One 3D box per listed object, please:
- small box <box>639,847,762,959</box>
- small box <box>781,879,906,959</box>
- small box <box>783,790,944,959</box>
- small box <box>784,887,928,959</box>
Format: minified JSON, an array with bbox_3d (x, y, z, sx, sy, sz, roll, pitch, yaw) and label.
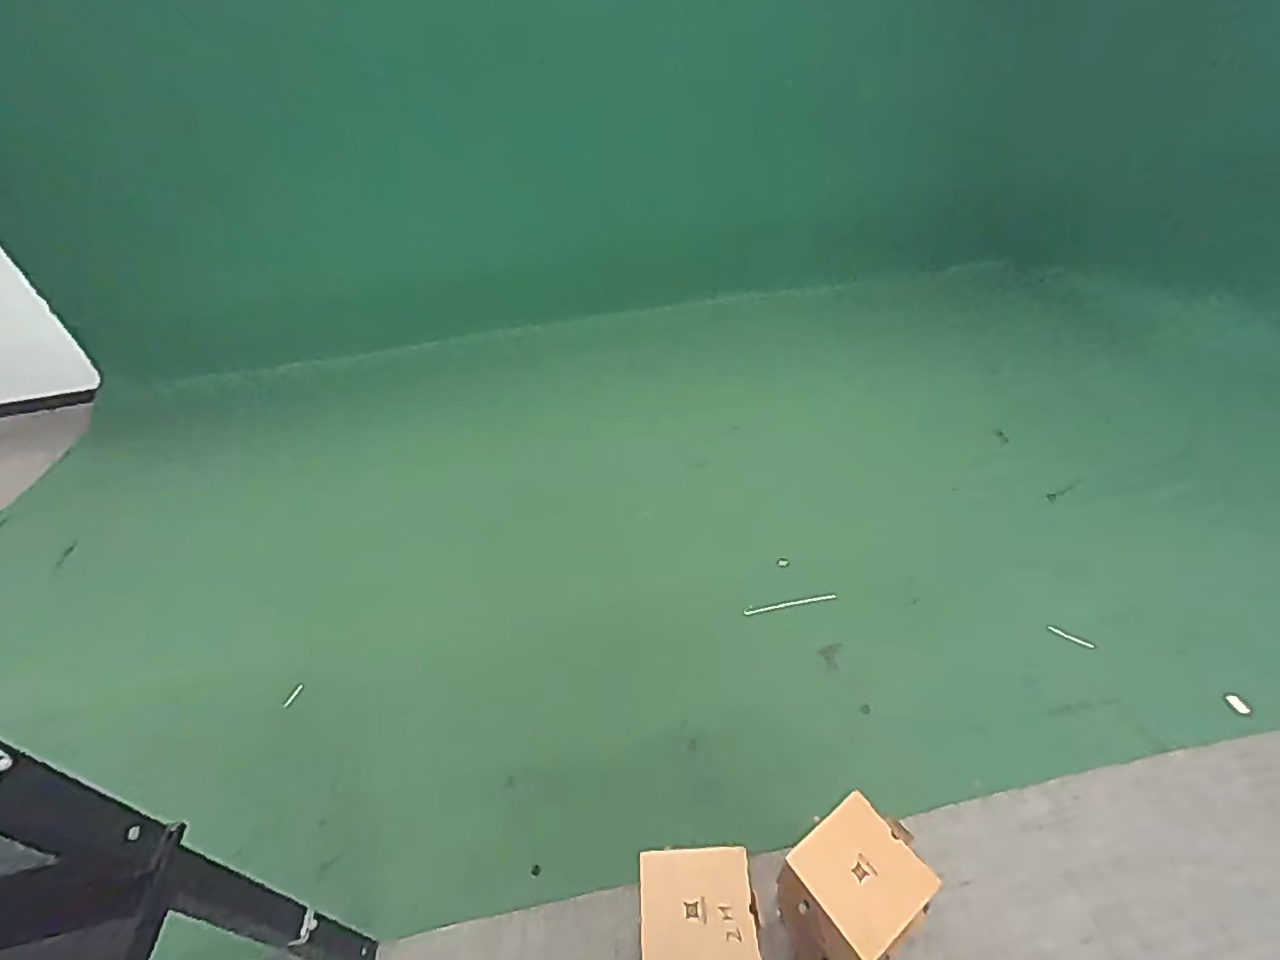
[{"bbox_3d":[0.095,0.709,0.863,0.179,0.176,0.168,-5,41,3],"label":"small box"},{"bbox_3d":[0.403,0.899,1.108,0.179,0.176,0.168,-15,42,-10],"label":"small box"},{"bbox_3d":[0.353,0.663,0.888,0.179,0.176,0.168,-27,46,-23],"label":"small box"},{"bbox_3d":[0.383,0.785,0.993,0.179,0.176,0.168,-24,45,-20],"label":"small box"}]
